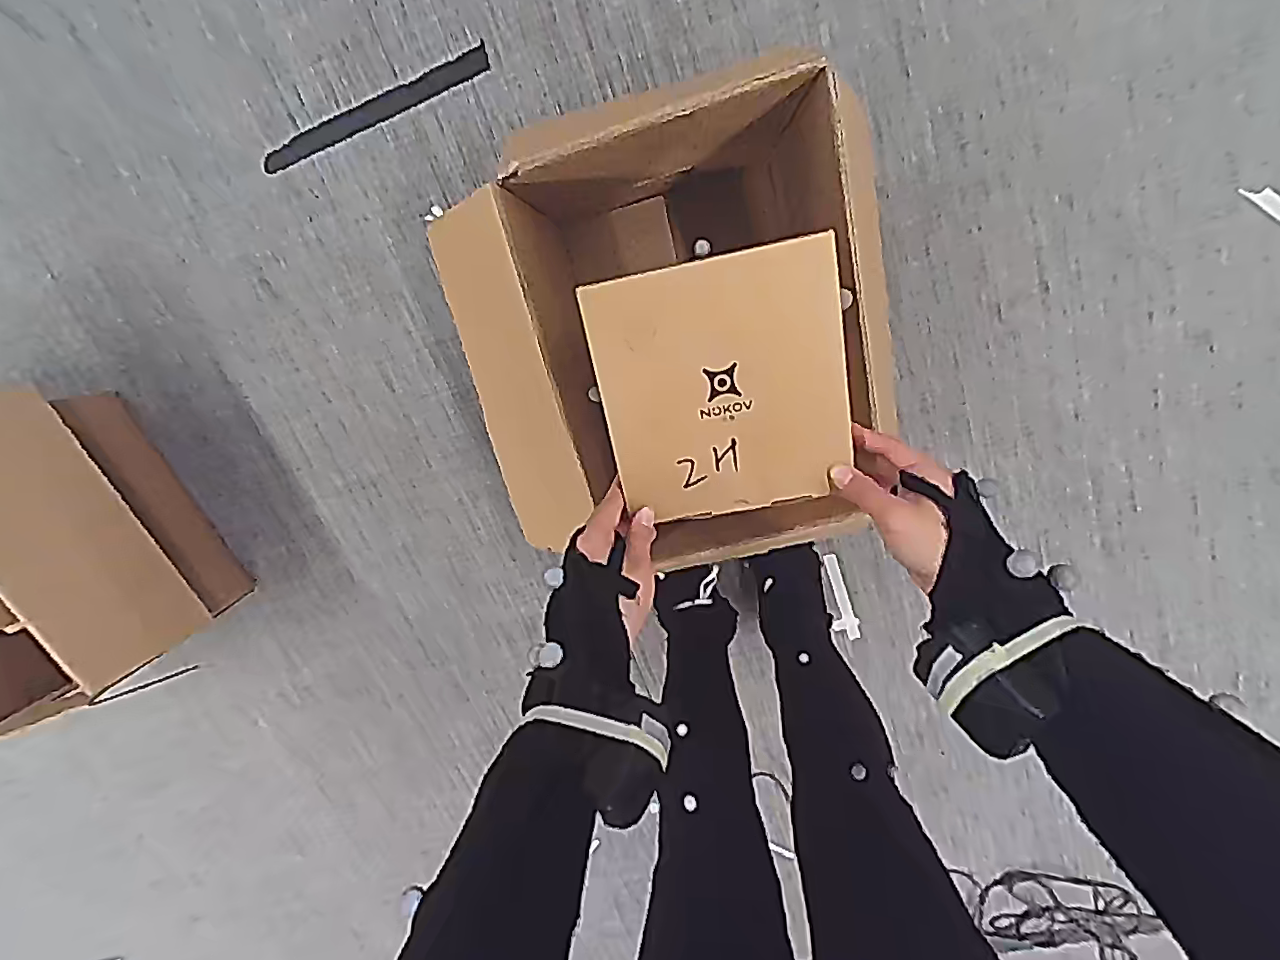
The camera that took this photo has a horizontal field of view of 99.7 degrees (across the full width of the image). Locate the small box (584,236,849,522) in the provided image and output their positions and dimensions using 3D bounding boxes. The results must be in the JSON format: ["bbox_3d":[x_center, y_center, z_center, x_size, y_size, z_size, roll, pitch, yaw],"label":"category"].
[{"bbox_3d":[0.061,-0.086,0.451,0.168,0.176,0.179,-10,109,8],"label":"small box"}]
